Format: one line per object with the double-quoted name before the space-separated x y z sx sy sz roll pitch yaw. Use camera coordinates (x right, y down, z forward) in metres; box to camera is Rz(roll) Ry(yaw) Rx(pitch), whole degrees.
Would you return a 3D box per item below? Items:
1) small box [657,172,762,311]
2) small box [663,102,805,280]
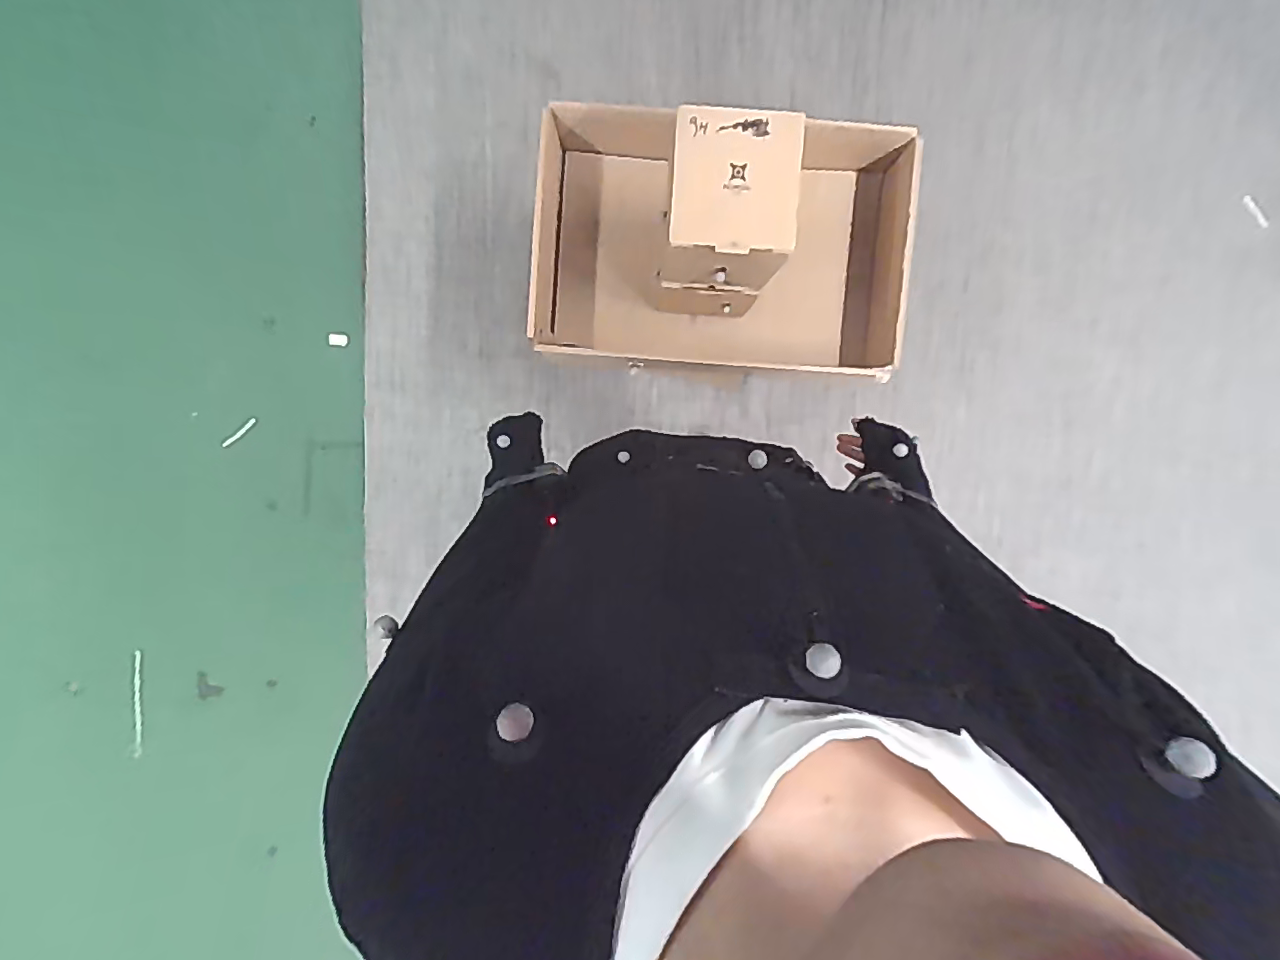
"small box" 0.118 -0.401 0.938 0.168 0.176 0.179 3 93 -1
"small box" 0.122 -0.397 0.774 0.168 0.176 0.179 4 95 -1
